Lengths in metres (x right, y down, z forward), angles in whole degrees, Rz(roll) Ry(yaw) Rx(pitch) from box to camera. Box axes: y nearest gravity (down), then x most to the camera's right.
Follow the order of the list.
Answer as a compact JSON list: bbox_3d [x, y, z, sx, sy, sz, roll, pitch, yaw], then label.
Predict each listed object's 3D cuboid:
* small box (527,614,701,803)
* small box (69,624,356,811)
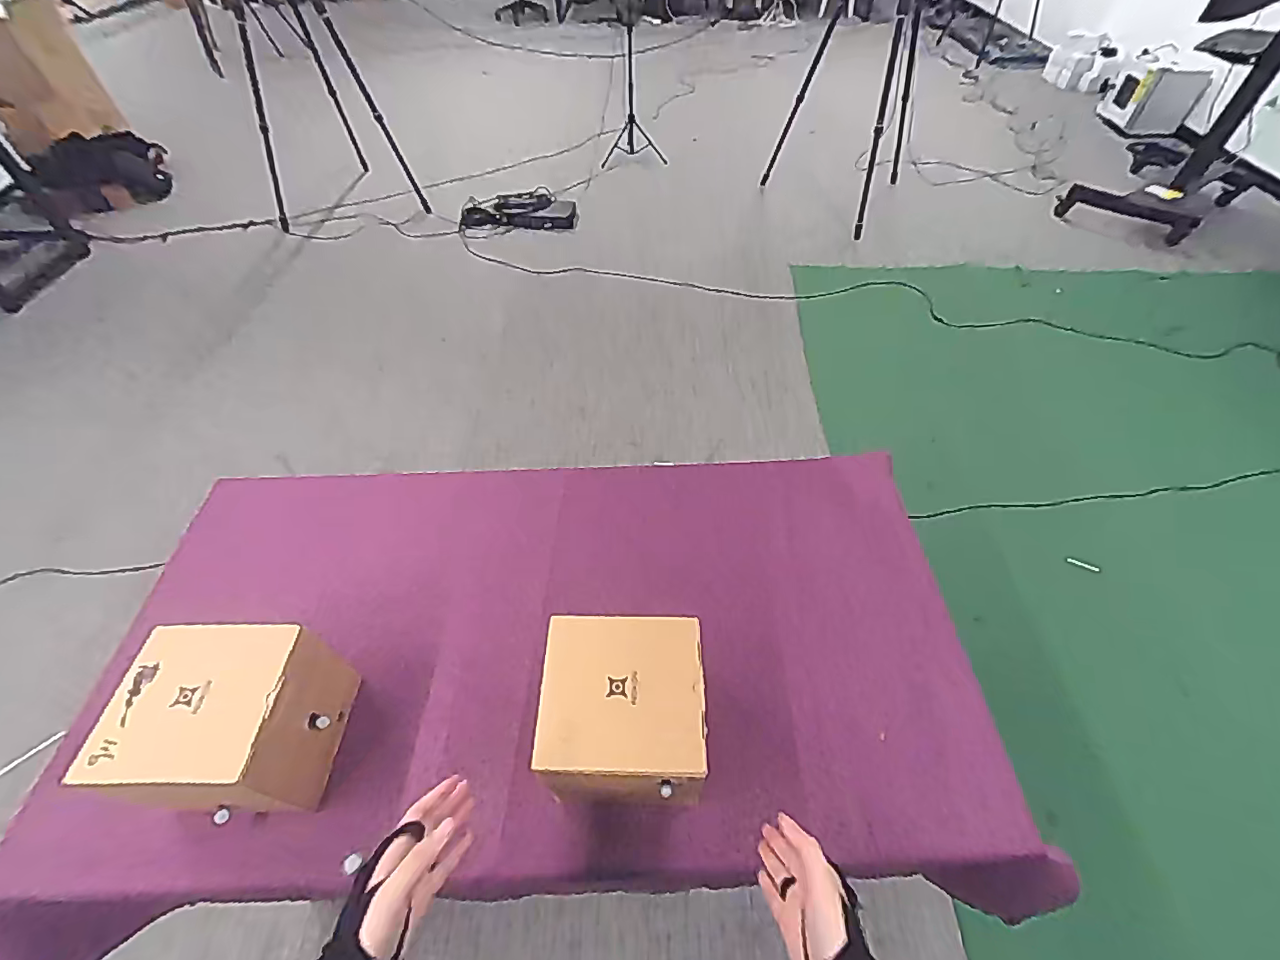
[{"bbox_3d":[-0.022,0.274,0.642,0.179,0.176,0.168,1,50,1],"label":"small box"},{"bbox_3d":[-0.474,0.284,0.641,0.179,0.176,0.168,0,50,0],"label":"small box"}]
